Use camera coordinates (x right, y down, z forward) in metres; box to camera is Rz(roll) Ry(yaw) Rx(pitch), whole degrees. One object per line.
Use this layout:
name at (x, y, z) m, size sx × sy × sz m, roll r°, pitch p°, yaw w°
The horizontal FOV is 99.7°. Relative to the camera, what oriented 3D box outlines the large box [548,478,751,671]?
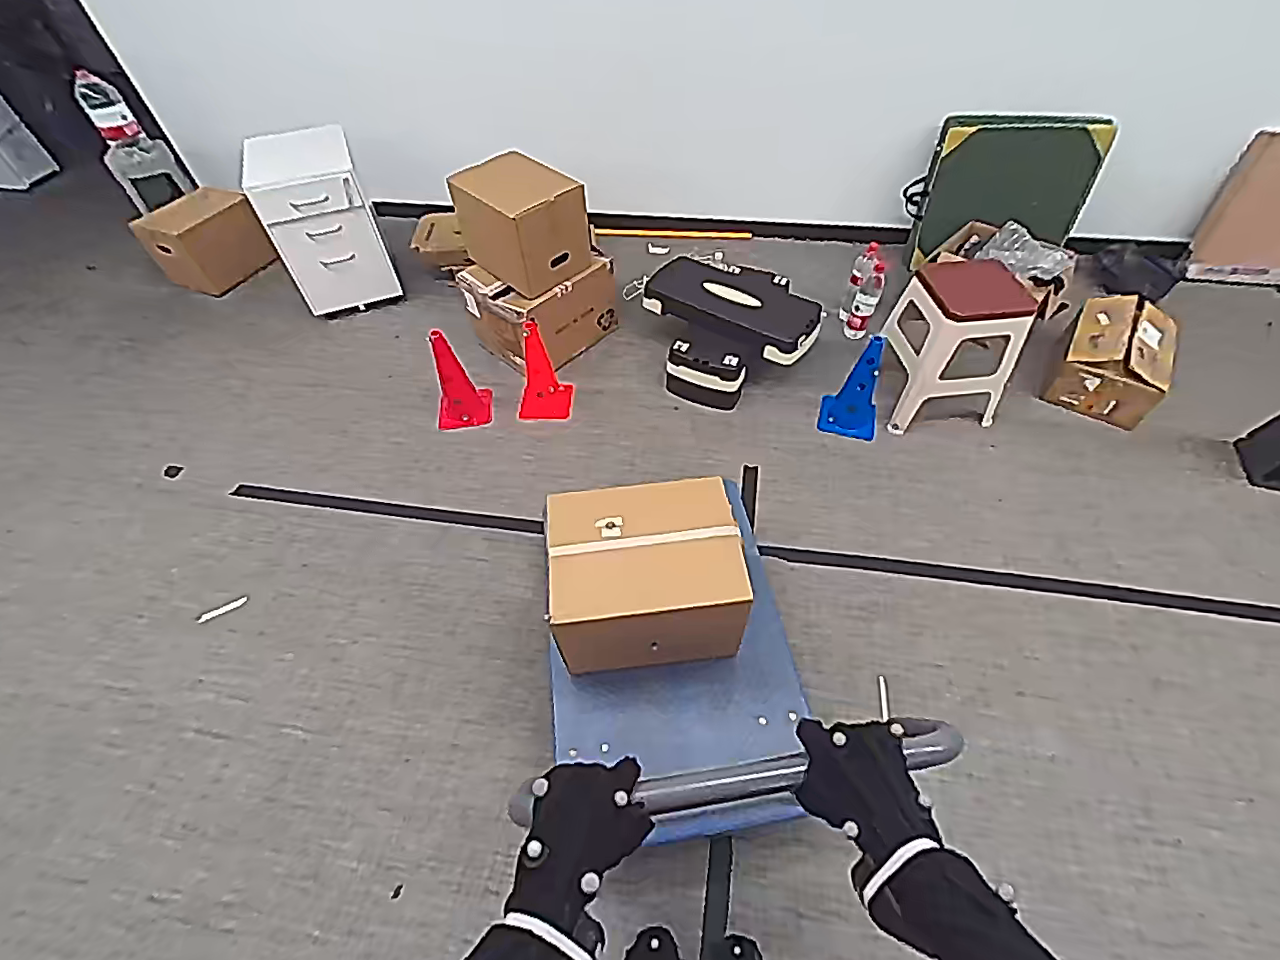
large box at (0.014, 0.228, 1.266) m, size 0.408 × 0.320 × 0.320 m, roll -7°, pitch 52°, yaw -2°
